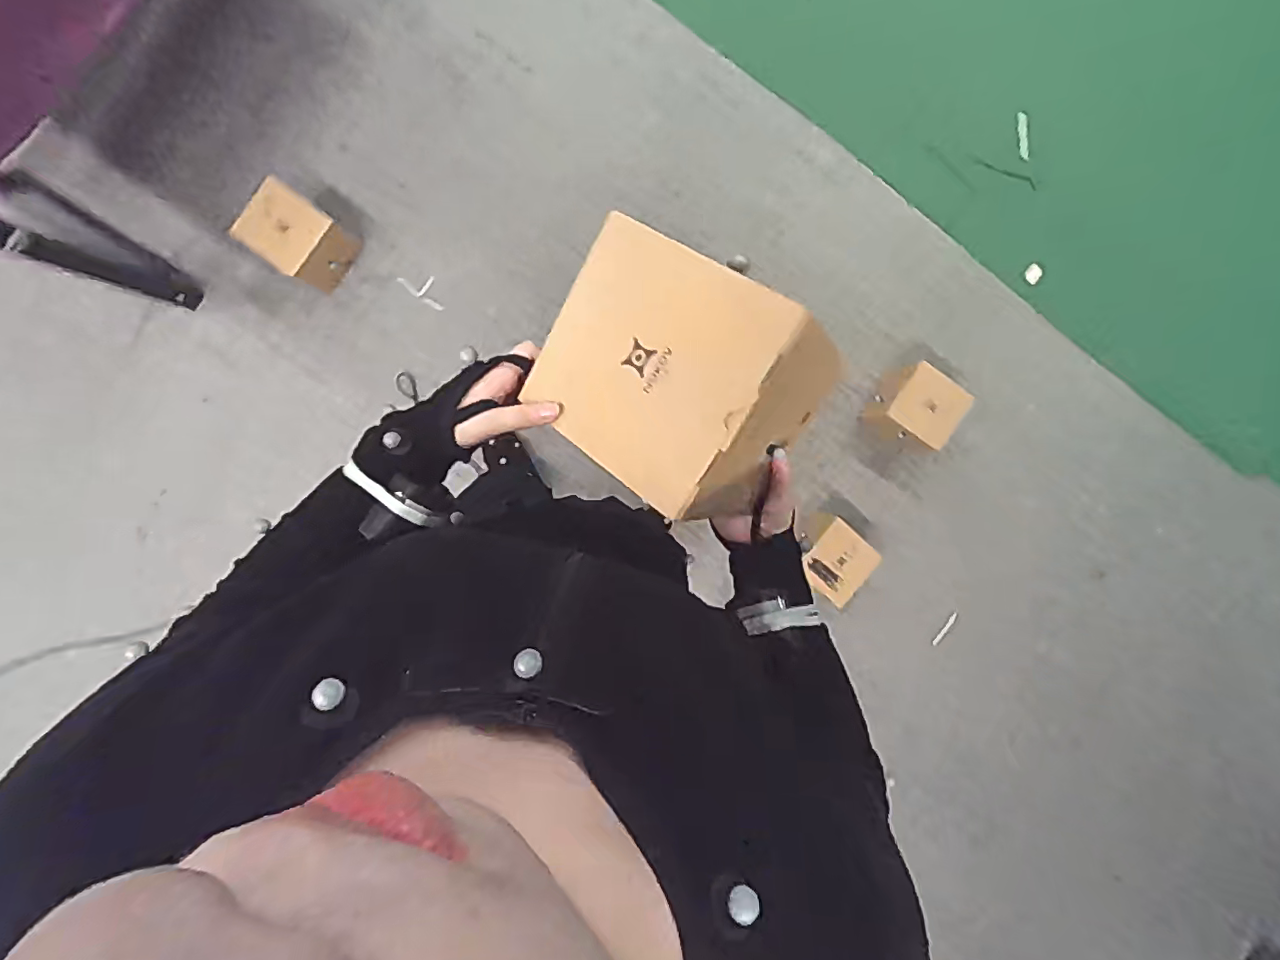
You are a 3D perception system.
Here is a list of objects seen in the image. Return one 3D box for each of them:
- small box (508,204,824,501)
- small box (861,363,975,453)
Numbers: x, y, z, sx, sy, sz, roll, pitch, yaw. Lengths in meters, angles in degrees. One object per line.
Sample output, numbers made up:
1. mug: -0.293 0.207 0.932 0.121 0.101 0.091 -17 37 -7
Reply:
1. small box: 0.029 -0.096 0.463 0.179 0.176 0.168 36 107 24
2. small box: 0.729 -0.186 1.441 0.179 0.176 0.168 35 92 -5
